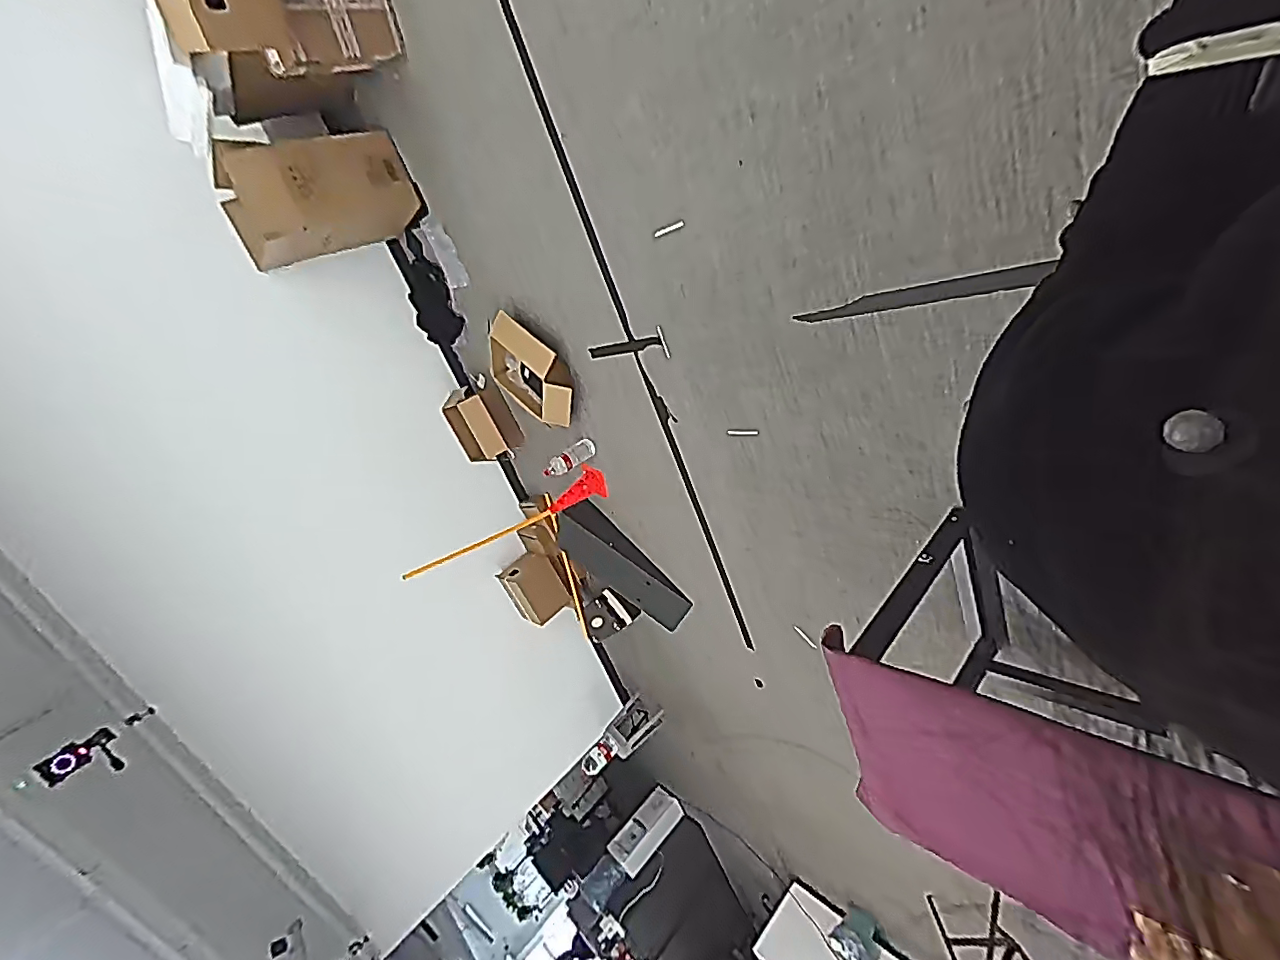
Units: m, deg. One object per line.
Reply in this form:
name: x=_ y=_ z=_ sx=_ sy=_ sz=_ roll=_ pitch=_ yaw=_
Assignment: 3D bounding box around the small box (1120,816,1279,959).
small box: x=0.851 y=0.664 z=0.813 sx=0.168 sy=0.176 sz=0.179 roll=8 pitch=127 yaw=48
